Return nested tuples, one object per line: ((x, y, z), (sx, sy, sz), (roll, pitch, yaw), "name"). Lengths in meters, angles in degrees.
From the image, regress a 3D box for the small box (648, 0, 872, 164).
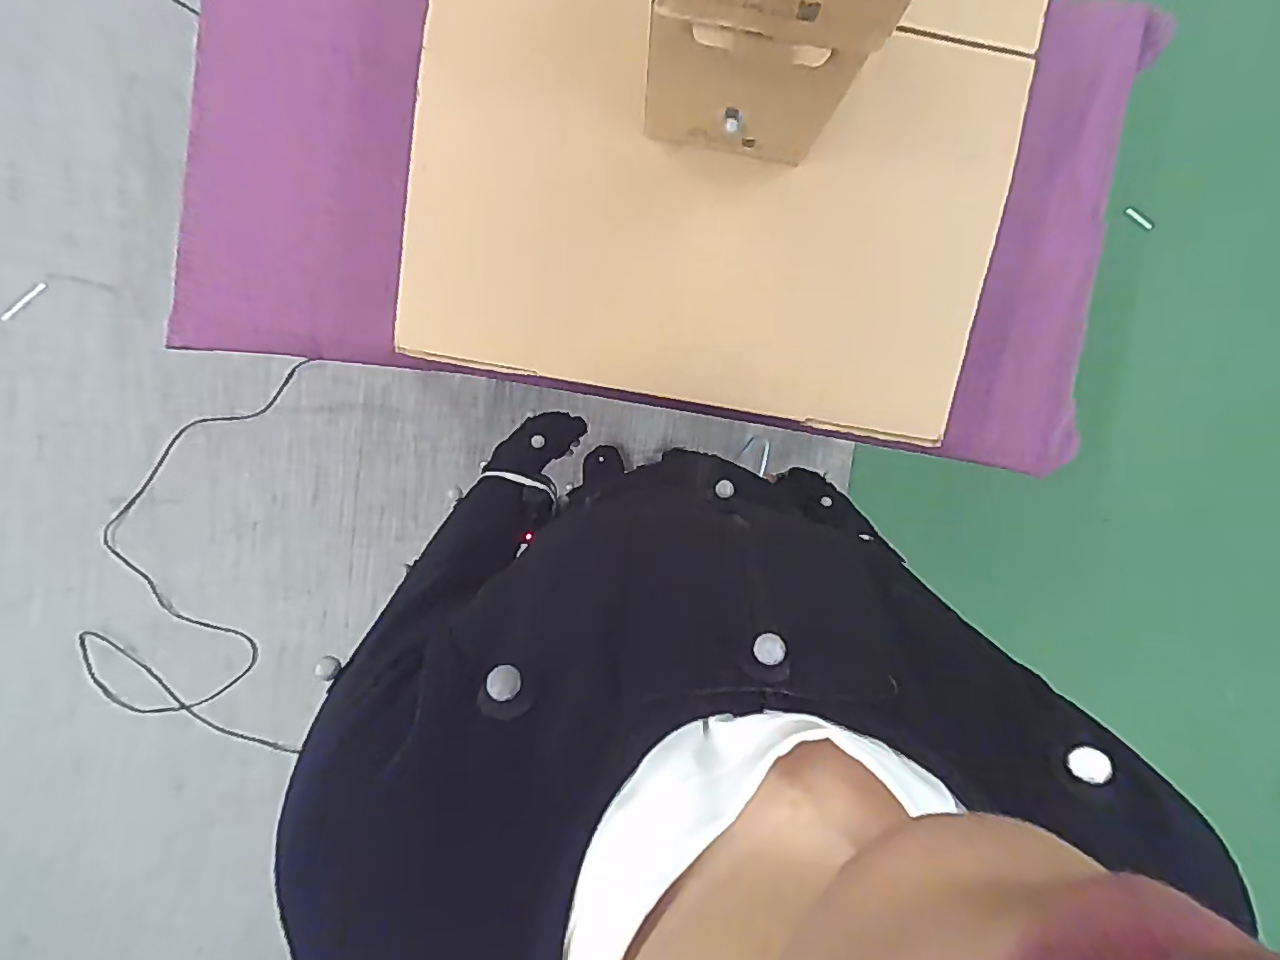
((0.101, -0.413, 0.462), (0.168, 0.176, 0.179), (10, 93, -2), "small box")

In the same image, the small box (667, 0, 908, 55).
((0.105, -0.396, 0.300), (0.168, 0.176, 0.179), (8, 94, -2), "small box")
